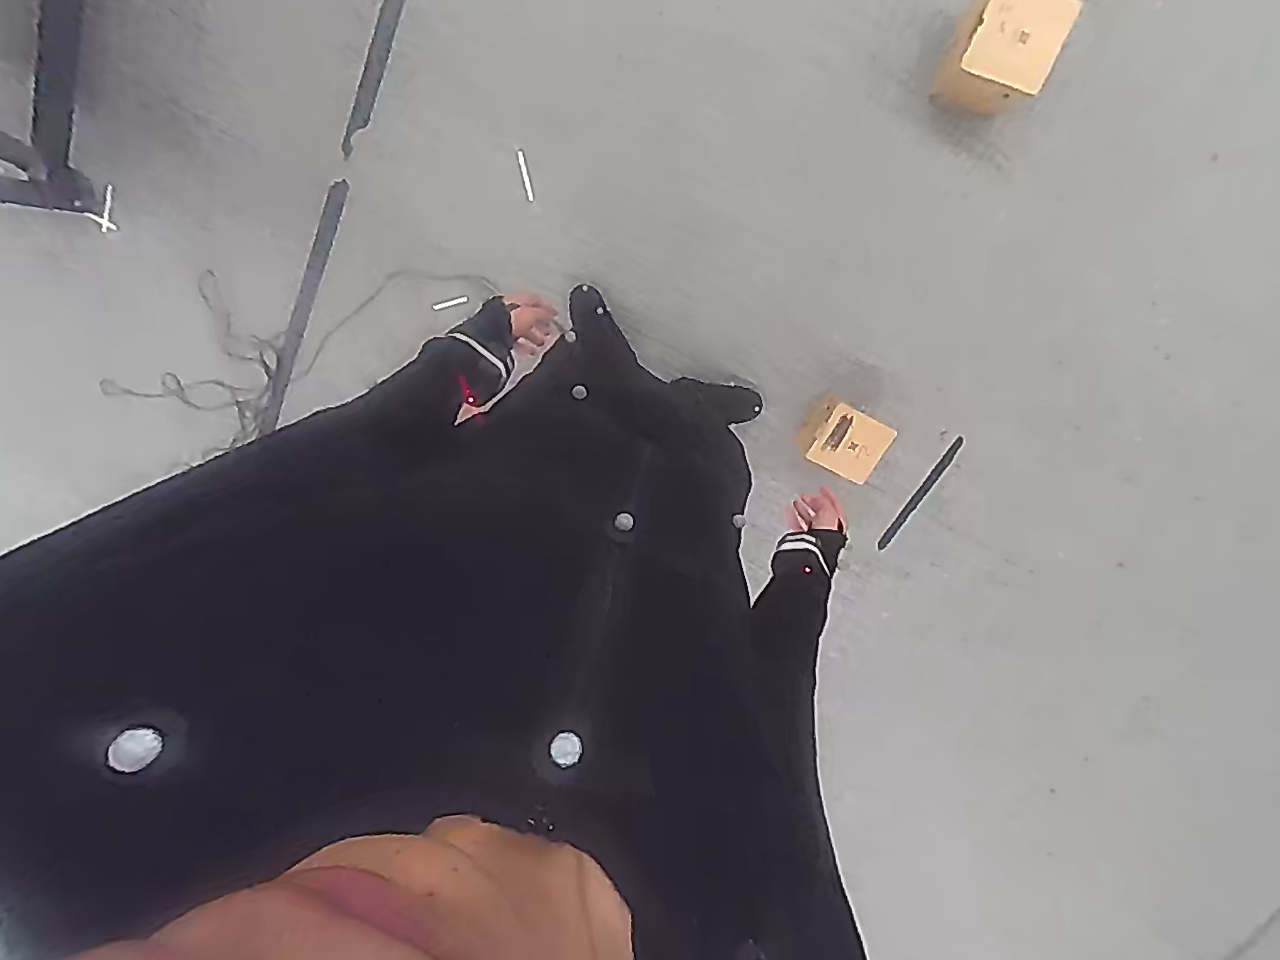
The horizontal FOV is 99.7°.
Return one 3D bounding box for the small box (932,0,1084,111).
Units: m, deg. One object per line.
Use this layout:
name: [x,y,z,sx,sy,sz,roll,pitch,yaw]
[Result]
small box: [0.772,-0.923,1.157,0.179,0.176,0.168,19,111,-1]
